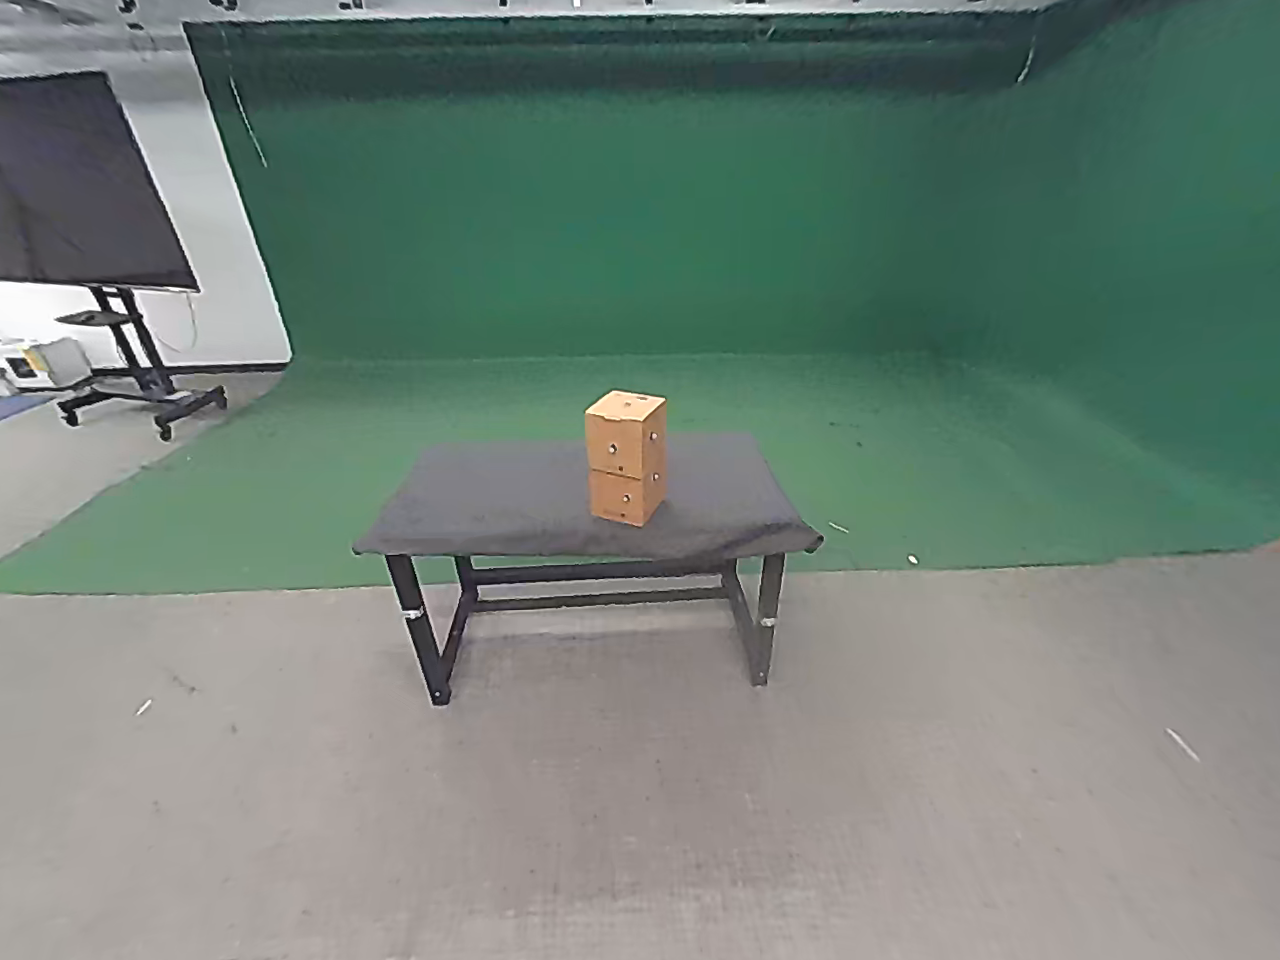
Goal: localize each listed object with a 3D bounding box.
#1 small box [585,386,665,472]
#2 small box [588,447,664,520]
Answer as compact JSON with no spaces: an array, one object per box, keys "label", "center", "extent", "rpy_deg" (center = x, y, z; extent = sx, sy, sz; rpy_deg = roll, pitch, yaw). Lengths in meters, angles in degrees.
[{"label":"small box","center":[-0.036,-0.140,1.489],"extent":[0.168,0.176,0.179],"rpy_deg":[13,34,20]},{"label":"small box","center":[-0.036,-0.005,1.583],"extent":[0.168,0.176,0.179],"rpy_deg":[13,32,19]}]
